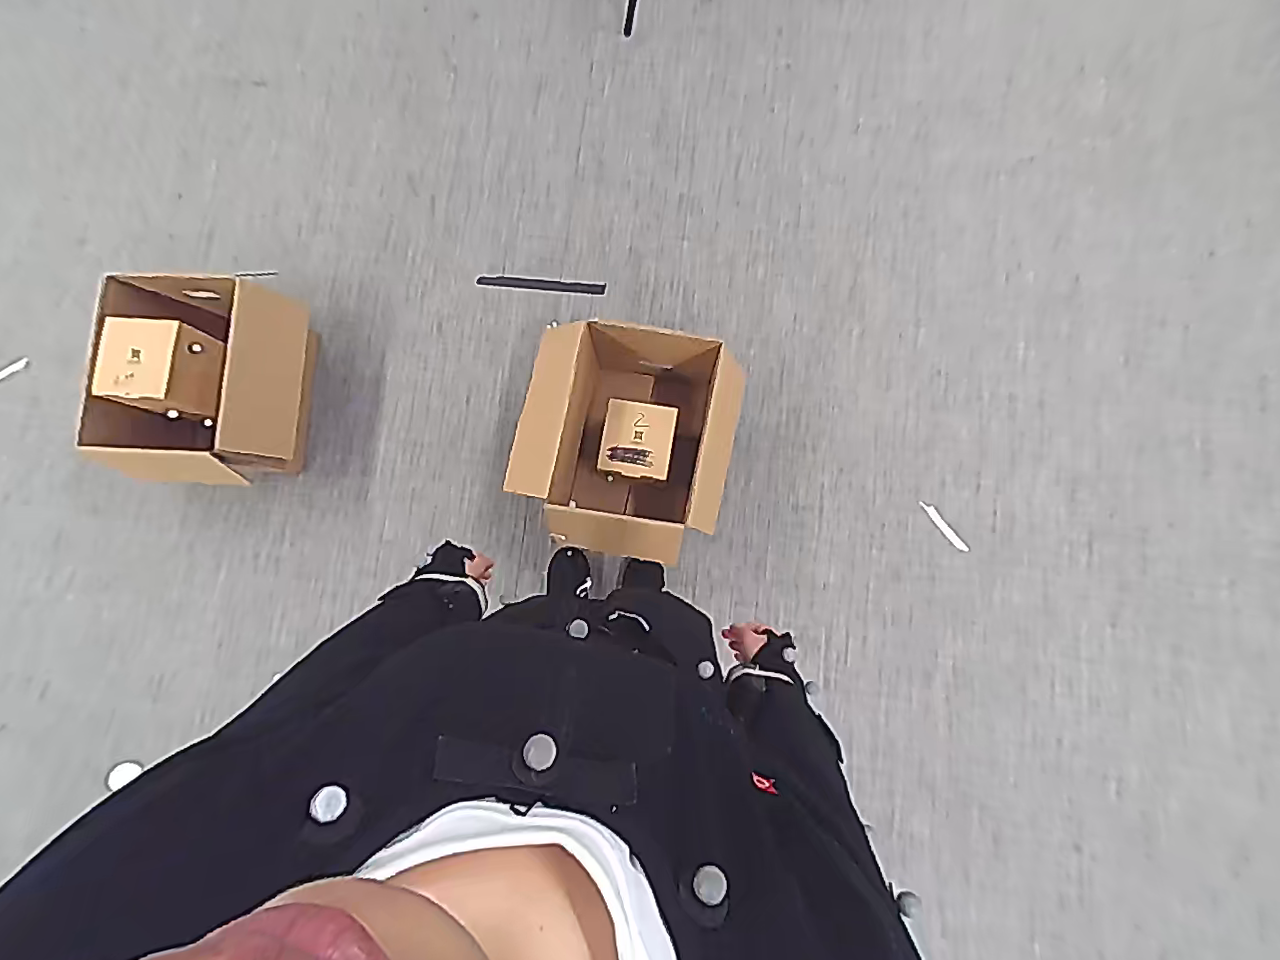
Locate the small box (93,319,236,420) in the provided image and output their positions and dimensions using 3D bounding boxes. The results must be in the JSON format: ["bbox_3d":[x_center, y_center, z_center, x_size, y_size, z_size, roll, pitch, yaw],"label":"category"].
[{"bbox_3d":[-1.066,-0.246,1.230,0.168,0.176,0.179,4,83,3],"label":"small box"}]
